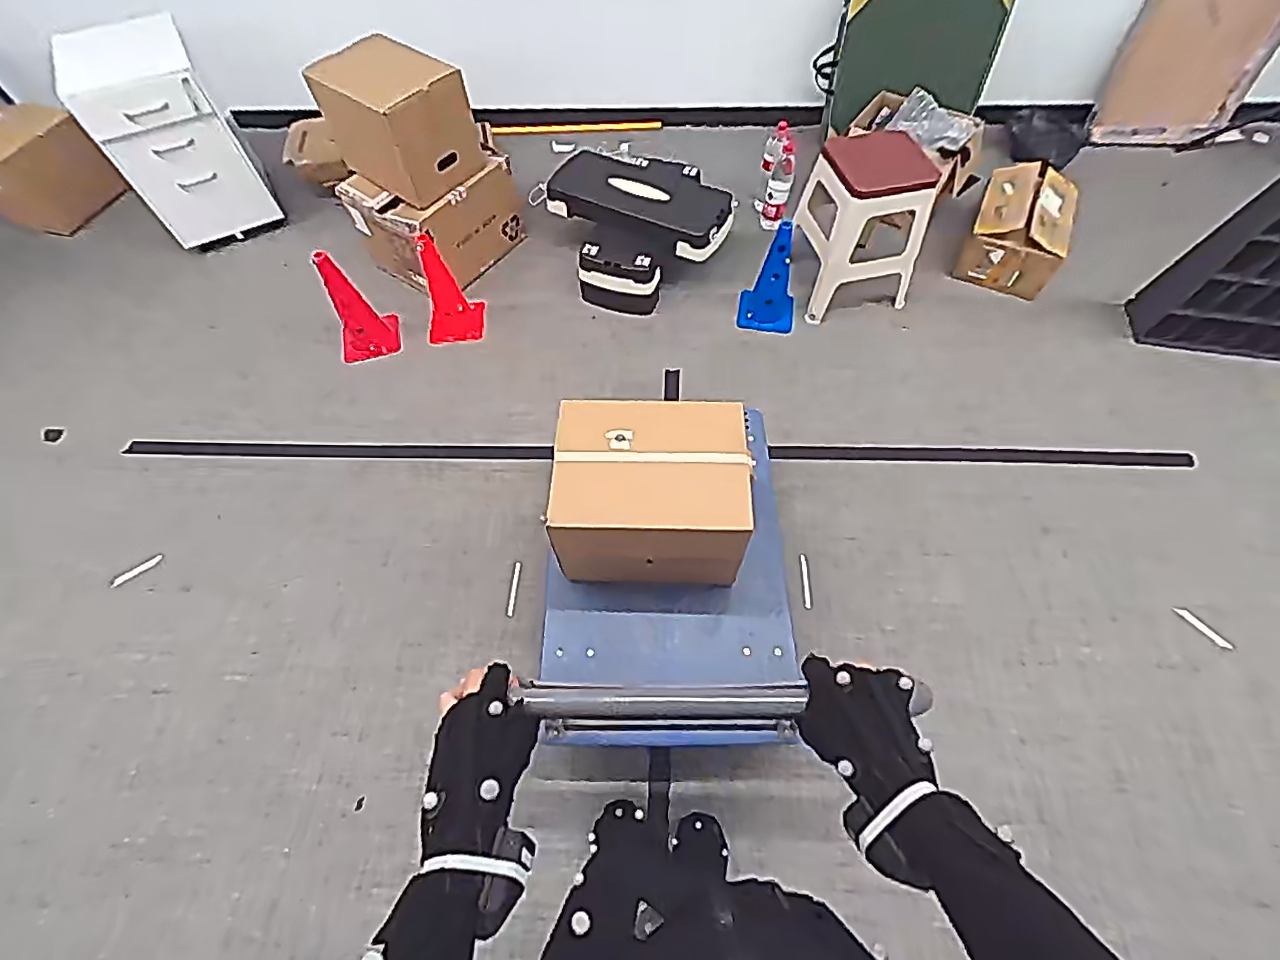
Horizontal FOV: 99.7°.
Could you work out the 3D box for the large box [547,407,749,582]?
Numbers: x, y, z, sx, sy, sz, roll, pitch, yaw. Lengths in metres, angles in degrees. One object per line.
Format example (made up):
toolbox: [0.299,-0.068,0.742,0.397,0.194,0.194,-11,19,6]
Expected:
large box: [0.023,0.045,1.261,0.408,0.320,0.320,0,60,2]
